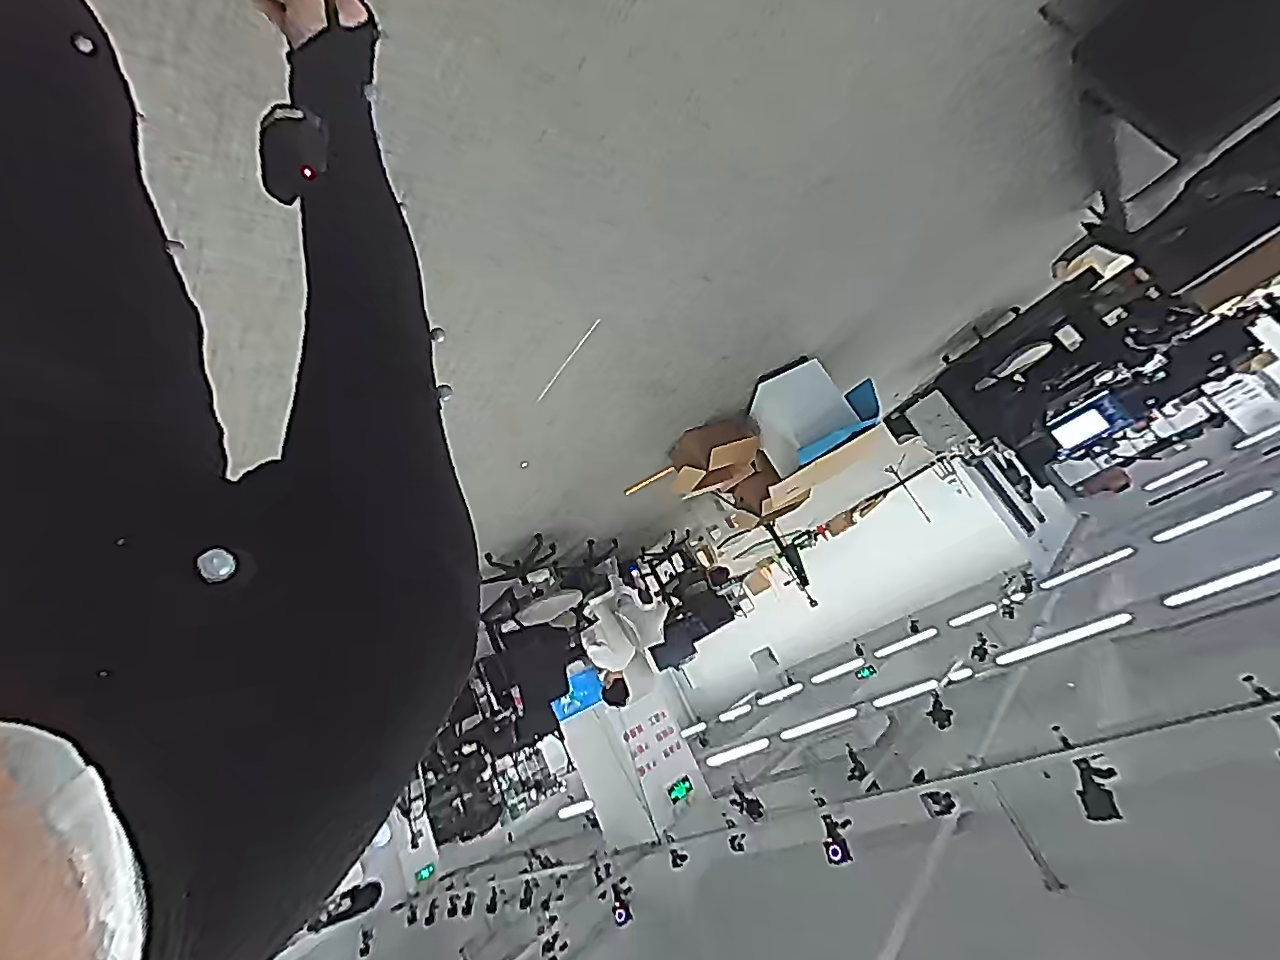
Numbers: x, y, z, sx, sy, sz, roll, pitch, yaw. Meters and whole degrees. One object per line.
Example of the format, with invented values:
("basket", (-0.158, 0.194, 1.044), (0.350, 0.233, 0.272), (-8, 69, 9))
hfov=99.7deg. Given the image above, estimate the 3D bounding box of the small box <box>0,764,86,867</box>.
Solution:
("small box", (-1.567, 0.865, 1.402), (0.168, 0.176, 0.179), (-6, 154, -46))
